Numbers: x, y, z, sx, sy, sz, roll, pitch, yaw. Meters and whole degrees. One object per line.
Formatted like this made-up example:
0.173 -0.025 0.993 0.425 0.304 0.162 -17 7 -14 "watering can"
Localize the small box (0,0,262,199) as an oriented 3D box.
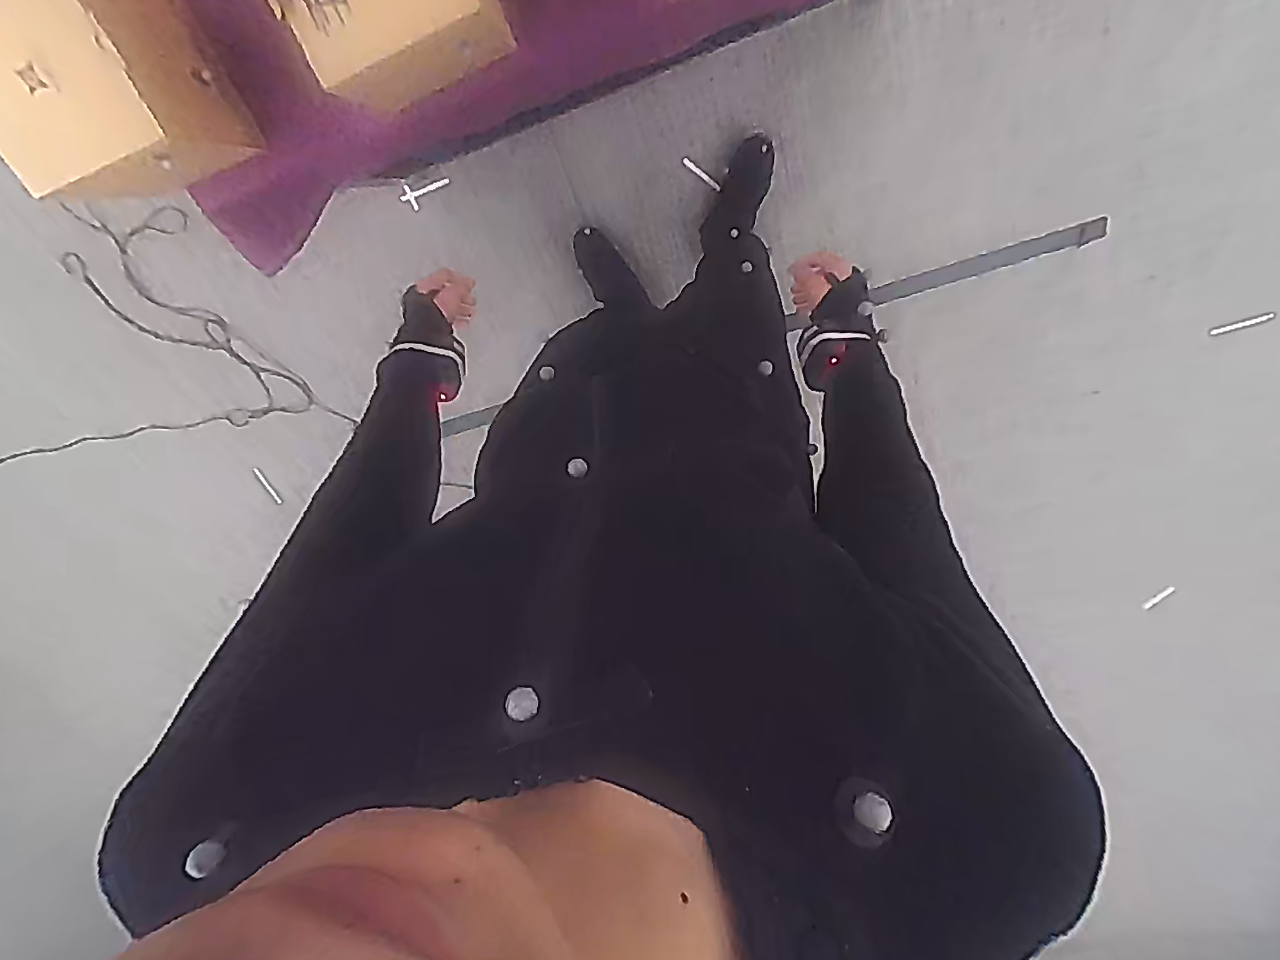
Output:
-0.575 -0.423 0.591 0.179 0.176 0.168 -18 117 9 "small box"
